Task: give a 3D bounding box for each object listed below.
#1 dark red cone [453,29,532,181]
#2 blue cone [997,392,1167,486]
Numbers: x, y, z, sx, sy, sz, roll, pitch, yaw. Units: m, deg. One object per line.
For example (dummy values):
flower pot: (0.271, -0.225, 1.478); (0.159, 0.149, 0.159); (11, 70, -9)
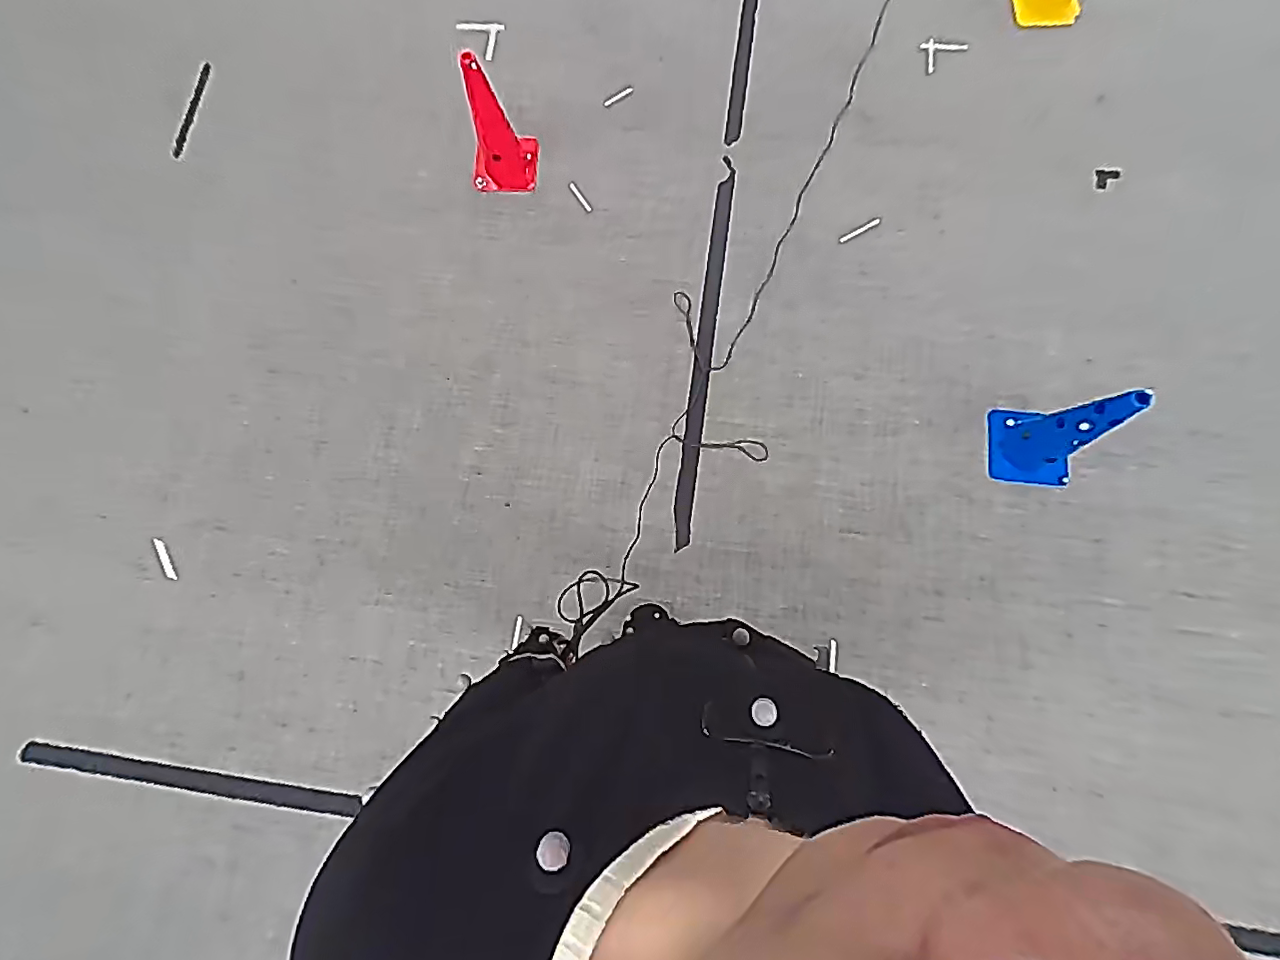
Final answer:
dark red cone: (-0.441, -1.049, 1.520); (0.201, 0.394, 0.202); (0, 77, 2)
blue cone: (1.031, -0.120, 1.261); (0.192, 0.380, 0.193); (8, 77, 3)
